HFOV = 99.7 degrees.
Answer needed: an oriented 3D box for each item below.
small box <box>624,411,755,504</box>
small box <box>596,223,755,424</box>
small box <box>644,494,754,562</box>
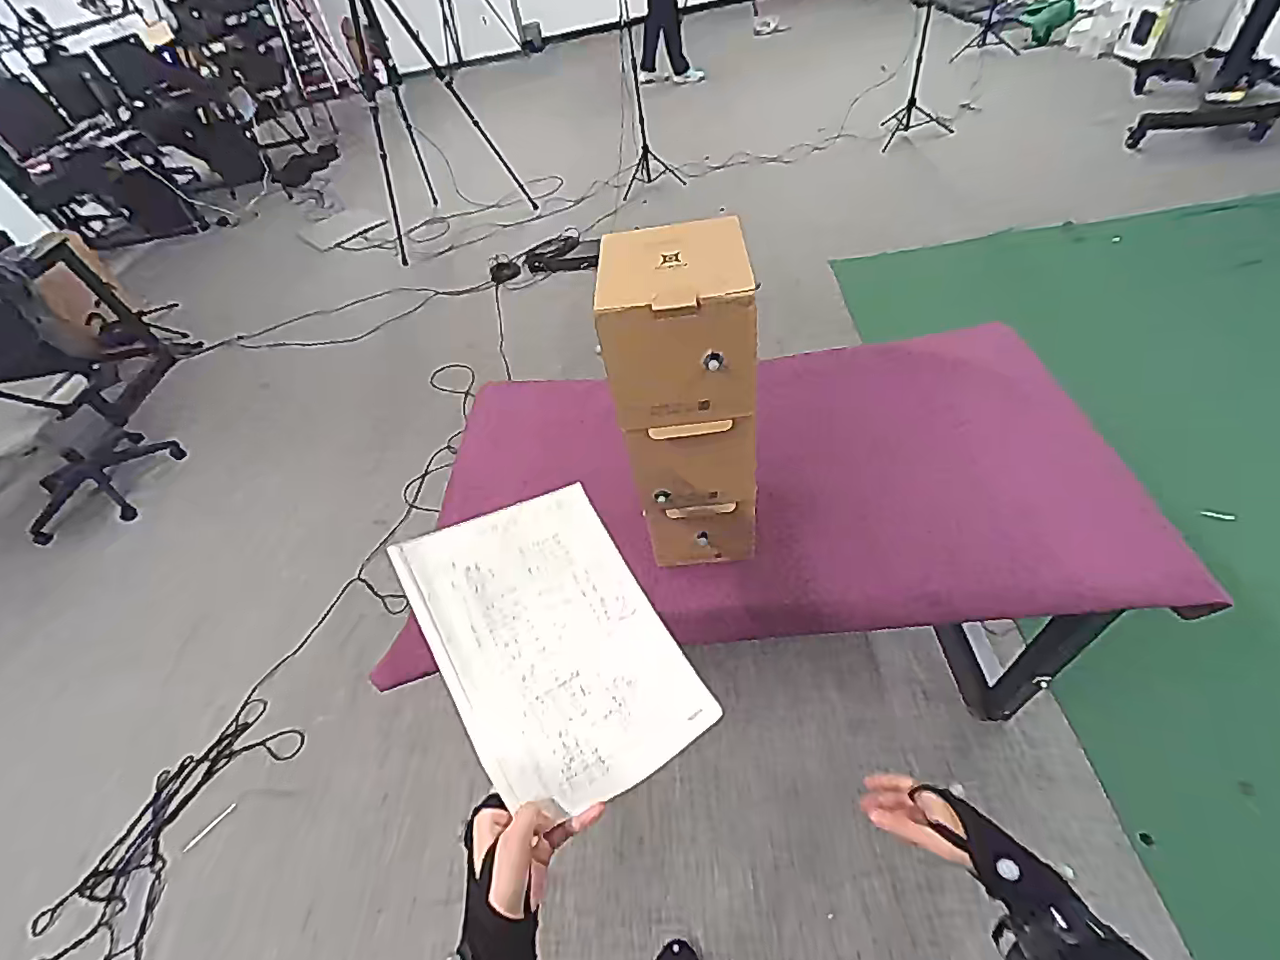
[{"bbox_3d":[0.074,-0.078,0.780,0.168,0.176,0.179,-6,47,7],"label":"small box"},{"bbox_3d":[0.049,-0.182,0.657,0.168,0.176,0.179,-5,48,7],"label":"small box"},{"bbox_3d":[0.100,0.026,0.906,0.168,0.176,0.179,-5,49,6],"label":"small box"}]
